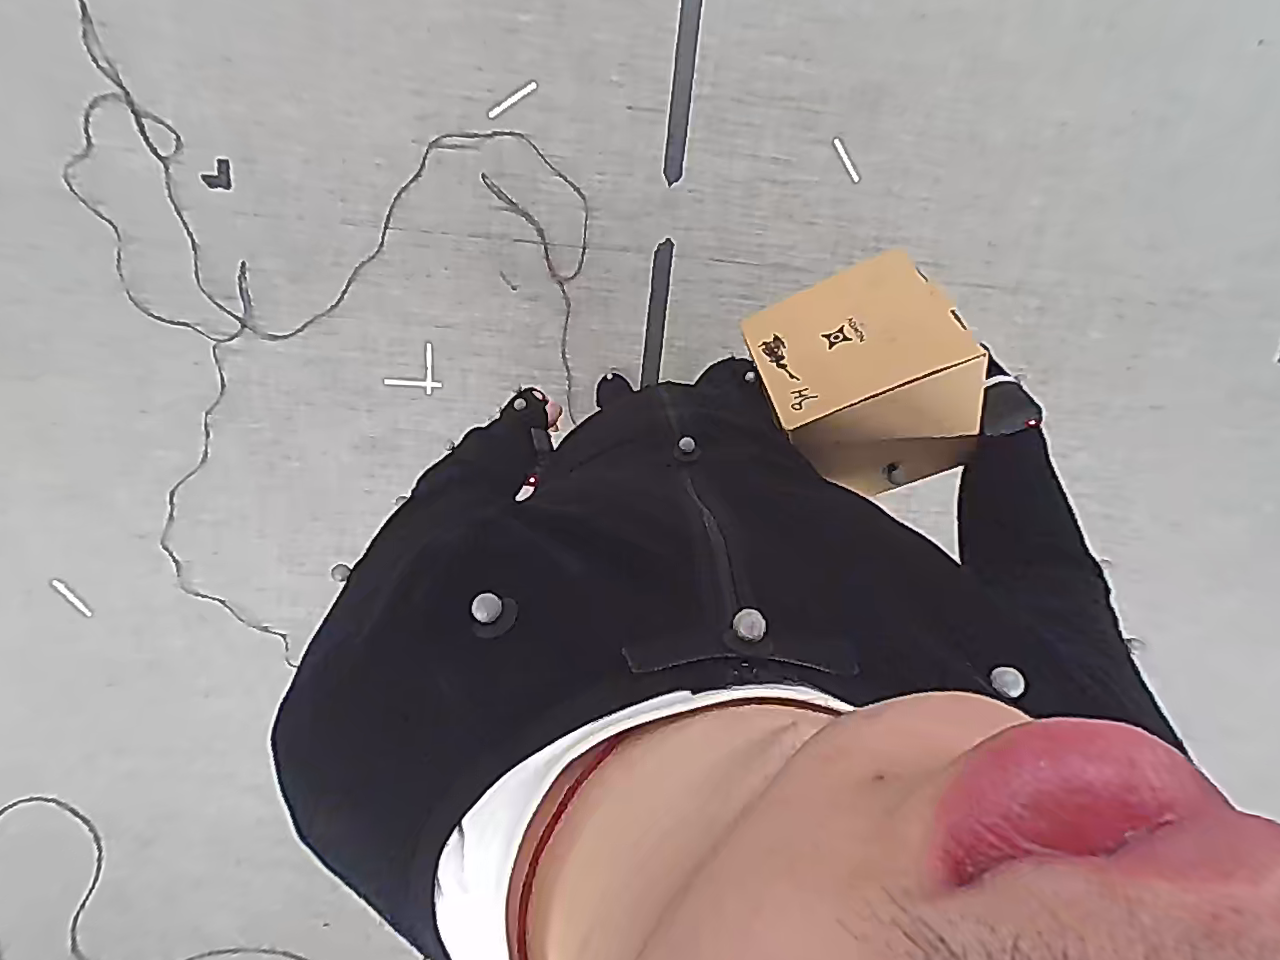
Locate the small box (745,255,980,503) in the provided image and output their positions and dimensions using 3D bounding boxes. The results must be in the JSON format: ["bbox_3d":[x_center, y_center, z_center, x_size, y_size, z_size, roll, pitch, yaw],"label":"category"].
[{"bbox_3d":[0.236,-0.101,0.594,0.179,0.168,0.176,-21,141,14],"label":"small box"}]
